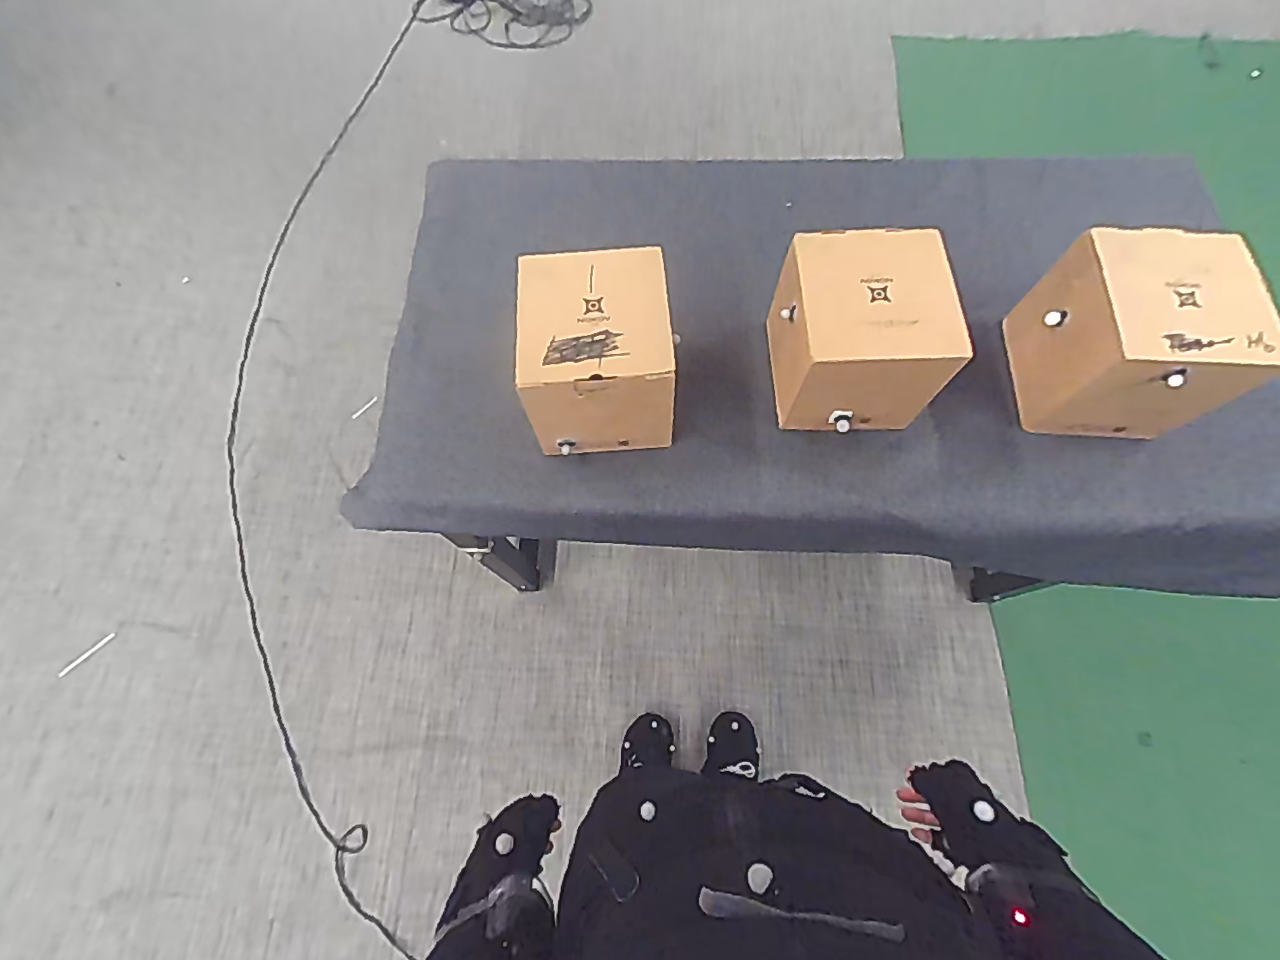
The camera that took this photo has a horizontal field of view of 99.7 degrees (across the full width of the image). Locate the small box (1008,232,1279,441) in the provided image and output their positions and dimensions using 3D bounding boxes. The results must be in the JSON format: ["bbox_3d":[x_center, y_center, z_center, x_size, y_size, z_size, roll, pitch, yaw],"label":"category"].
[{"bbox_3d":[0.581,-0.166,0.650,0.168,0.176,0.179,3,68,4],"label":"small box"}]

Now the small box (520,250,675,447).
[{"bbox_3d":[-0.044,-0.149,0.661,0.168,0.176,0.179,-4,67,0],"label":"small box"}]

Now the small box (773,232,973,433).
[{"bbox_3d":[0.265,-0.173,0.665,0.168,0.176,0.179,-2,69,2],"label":"small box"}]
